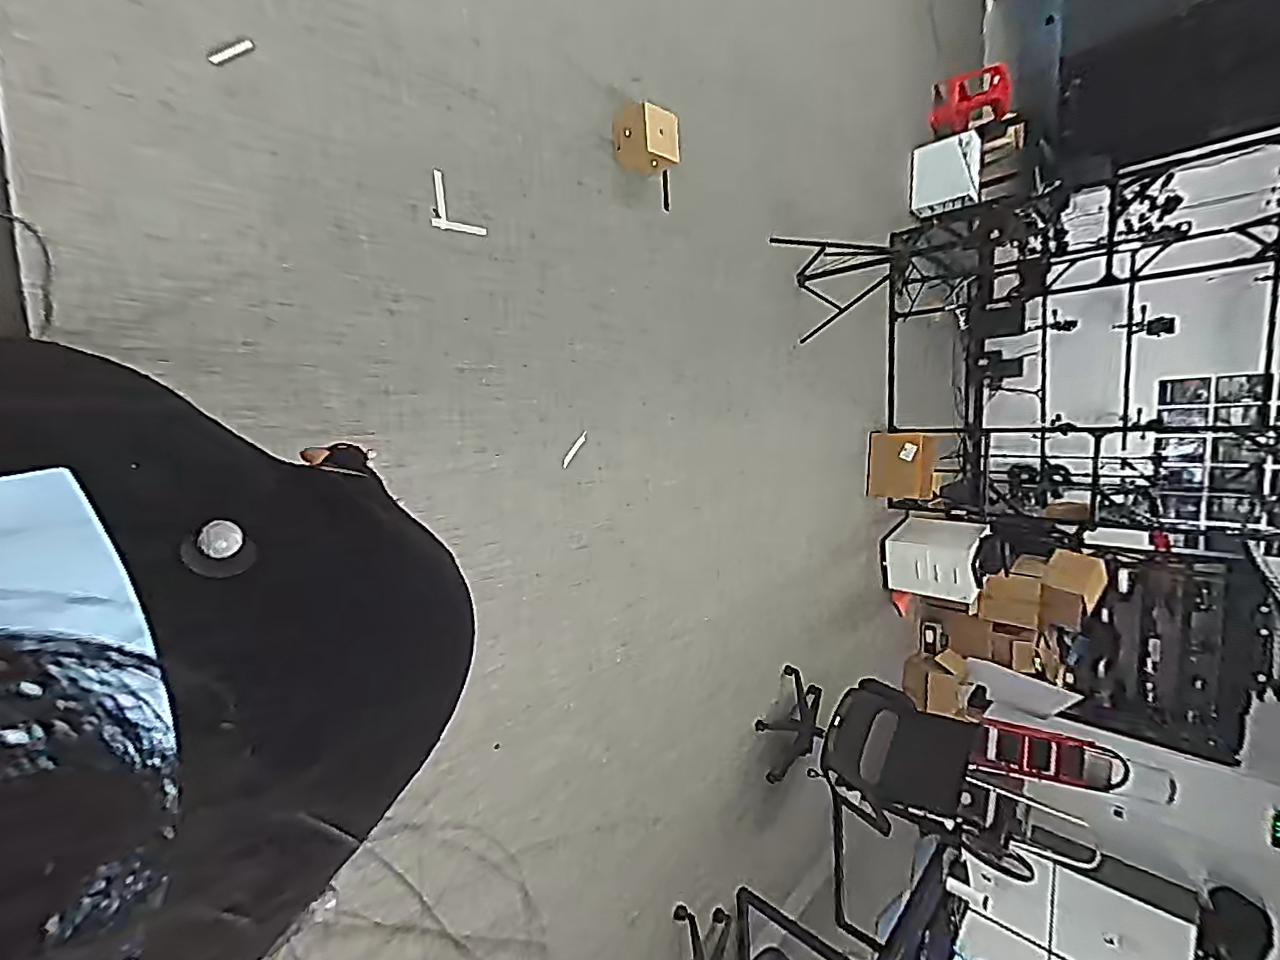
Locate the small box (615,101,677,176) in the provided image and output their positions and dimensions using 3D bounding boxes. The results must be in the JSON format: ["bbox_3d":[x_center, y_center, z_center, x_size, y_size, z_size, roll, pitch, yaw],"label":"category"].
[{"bbox_3d":[0.017,-1.259,2.009,0.179,0.176,0.168,-12,102,-45],"label":"small box"}]
